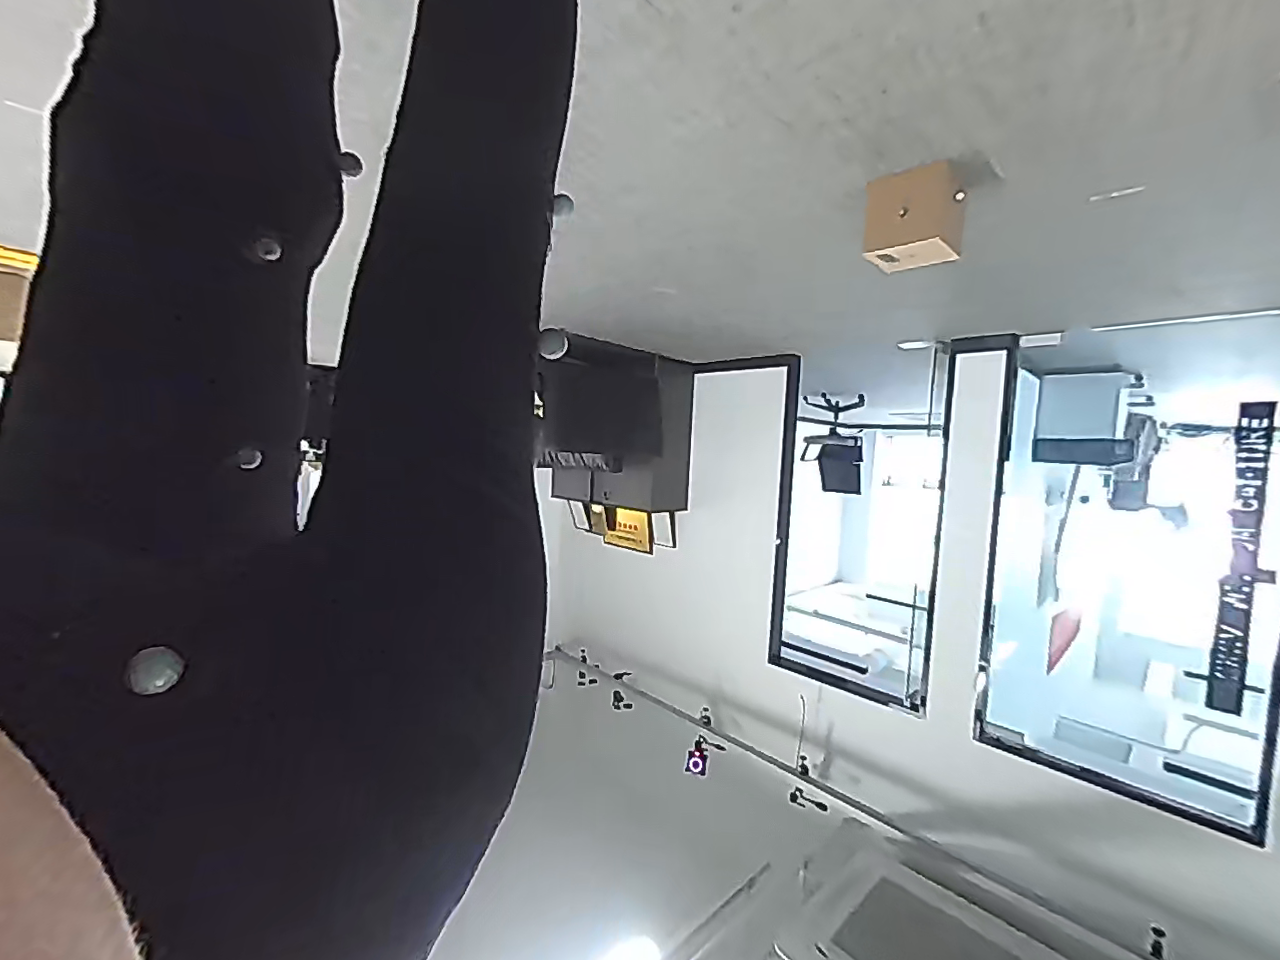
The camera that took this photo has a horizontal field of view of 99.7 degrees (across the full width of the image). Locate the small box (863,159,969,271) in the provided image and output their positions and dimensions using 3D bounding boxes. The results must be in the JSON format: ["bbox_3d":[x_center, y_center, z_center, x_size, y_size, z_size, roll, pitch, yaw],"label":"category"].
[{"bbox_3d":[0.648,-0.613,1.269,0.168,0.176,0.179,-1,-175,-44],"label":"small box"}]
